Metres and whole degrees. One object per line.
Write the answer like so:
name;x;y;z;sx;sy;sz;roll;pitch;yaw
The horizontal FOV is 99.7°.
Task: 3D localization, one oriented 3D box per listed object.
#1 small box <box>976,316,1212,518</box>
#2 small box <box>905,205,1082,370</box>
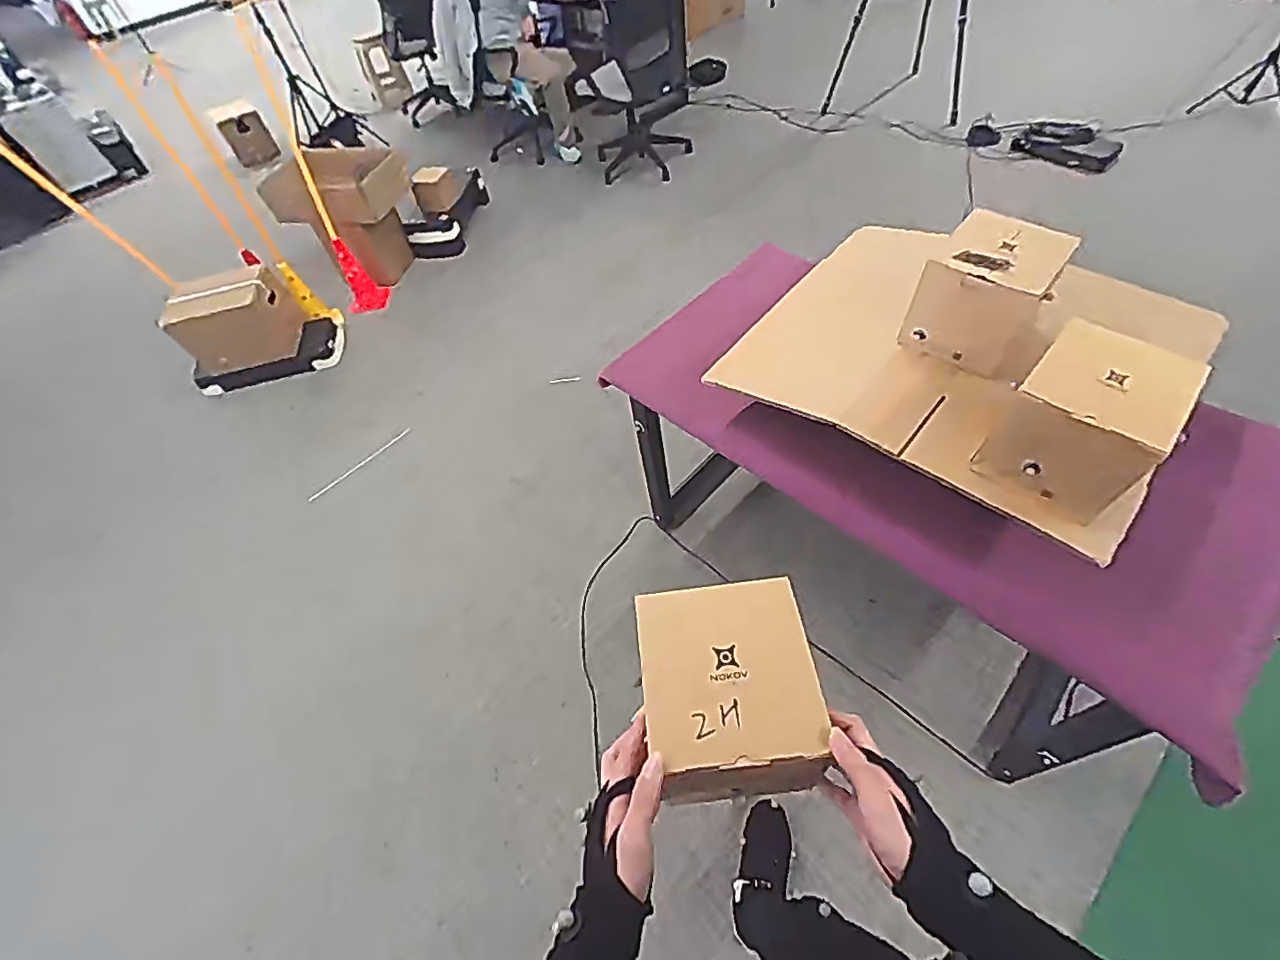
small box;0.602;-0.083;0.740;0.168;0.176;0.179;35;67;25
small box;0.568;-0.314;0.896;0.168;0.176;0.179;35;66;25
